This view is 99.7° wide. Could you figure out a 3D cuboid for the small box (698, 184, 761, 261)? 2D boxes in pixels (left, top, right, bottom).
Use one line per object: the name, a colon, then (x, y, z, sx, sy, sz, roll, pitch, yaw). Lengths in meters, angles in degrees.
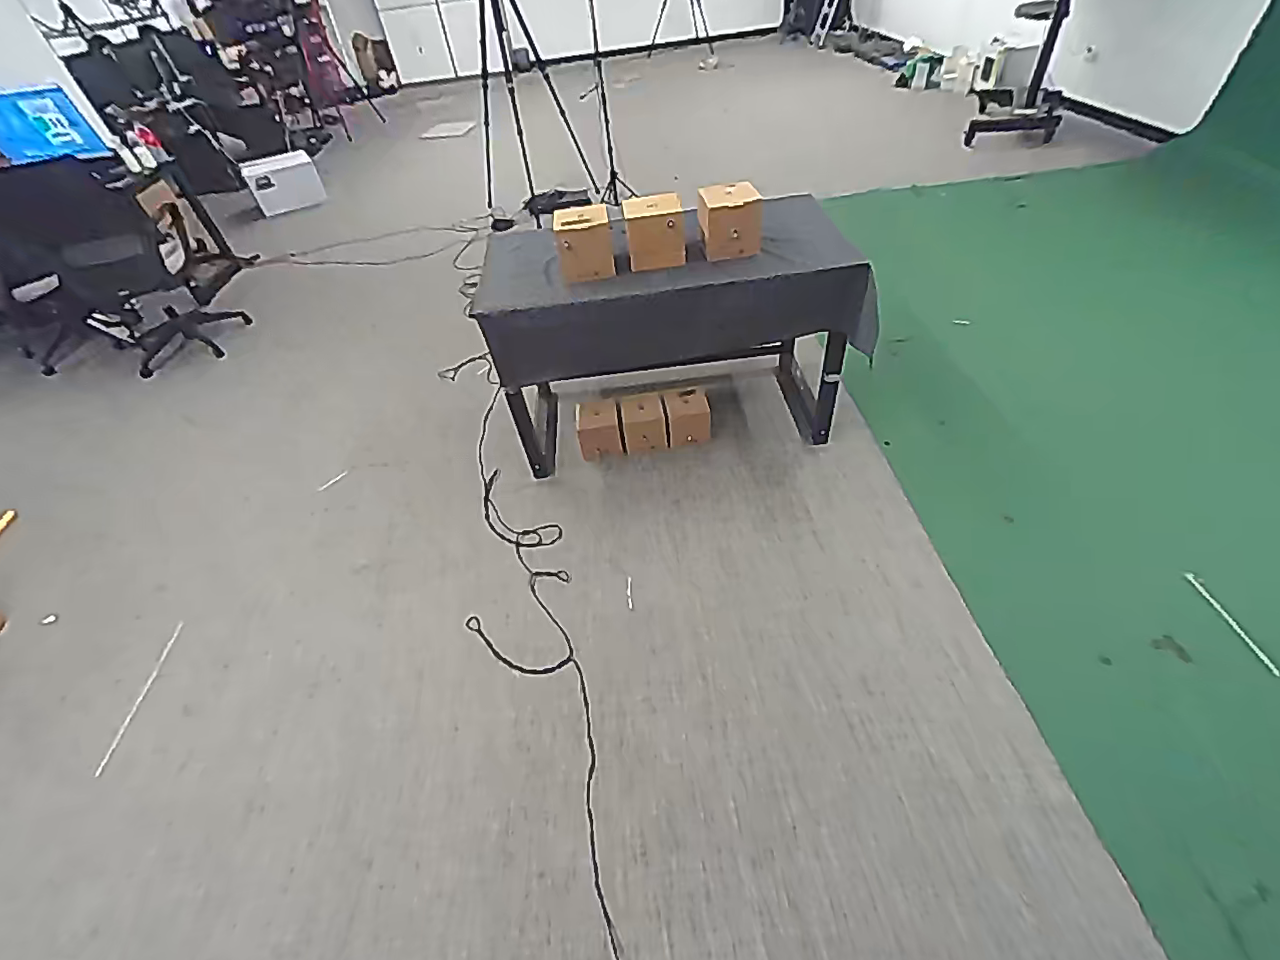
small box: (0.281, -0.808, 1.711, 0.168, 0.176, 0.179, -8, 46, -1)
